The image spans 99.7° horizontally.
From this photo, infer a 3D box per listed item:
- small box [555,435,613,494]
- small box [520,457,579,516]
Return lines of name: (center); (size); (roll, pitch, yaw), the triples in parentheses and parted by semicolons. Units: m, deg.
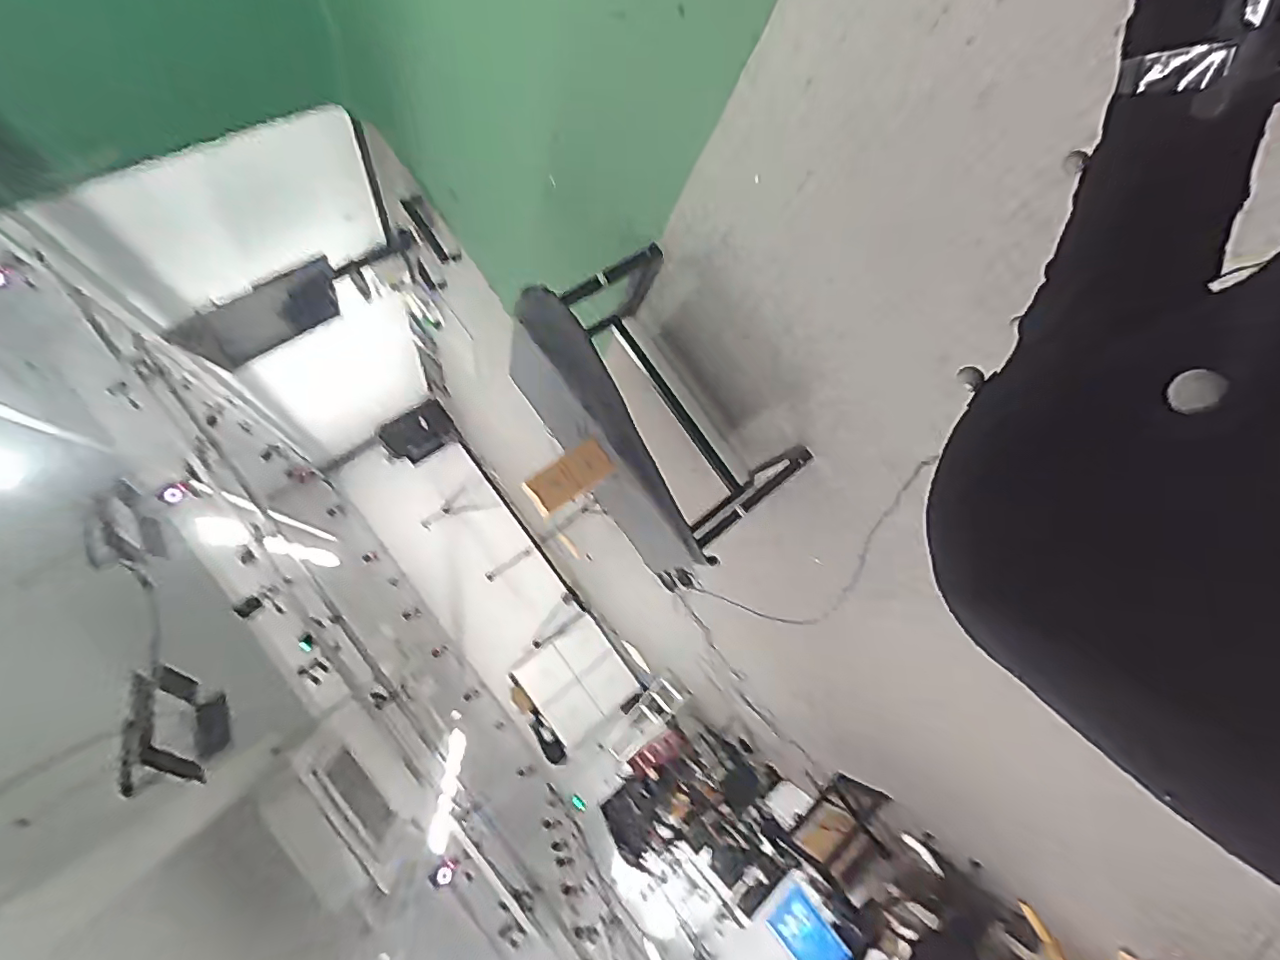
small box: (-0.241, -0.069, 2.249); (0.179, 0.176, 0.168); (53, 161, -2)
small box: (-0.367, 0.024, 2.203); (0.168, 0.176, 0.179); (54, 160, -1)
